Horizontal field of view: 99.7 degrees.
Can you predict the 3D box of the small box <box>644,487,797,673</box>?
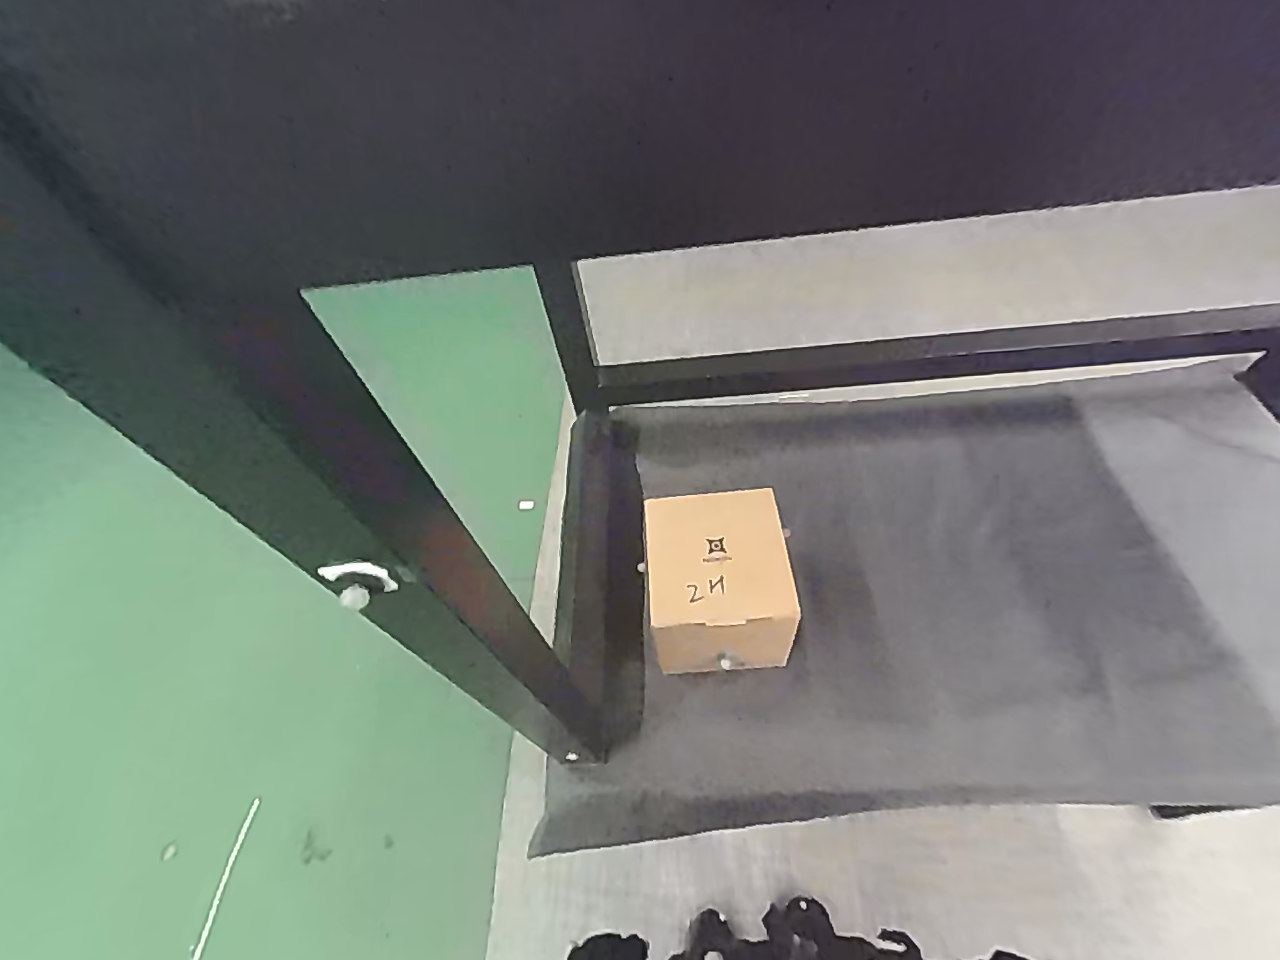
[{"bbox_3d":[0.096,0.133,0.703,0.168,0.176,0.179,-6,52,4],"label":"small box"}]
